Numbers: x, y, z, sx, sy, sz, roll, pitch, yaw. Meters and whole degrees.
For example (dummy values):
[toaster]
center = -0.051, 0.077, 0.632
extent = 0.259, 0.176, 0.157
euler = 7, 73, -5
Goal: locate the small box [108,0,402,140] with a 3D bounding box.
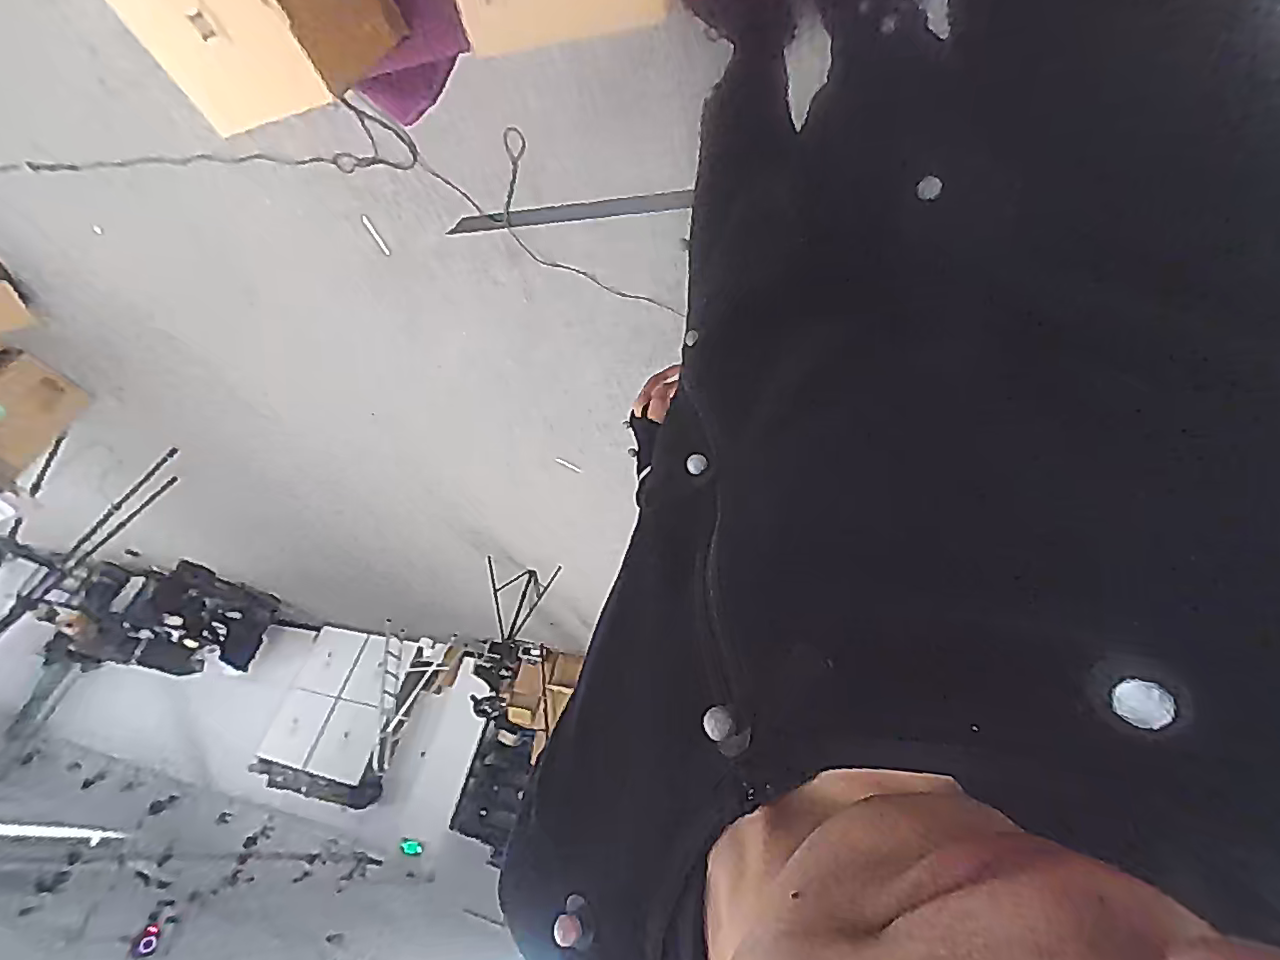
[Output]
[small box]
center = -0.383, -0.484, 0.544
extent = 0.179, 0.176, 0.168
euler = 0, 145, 21
